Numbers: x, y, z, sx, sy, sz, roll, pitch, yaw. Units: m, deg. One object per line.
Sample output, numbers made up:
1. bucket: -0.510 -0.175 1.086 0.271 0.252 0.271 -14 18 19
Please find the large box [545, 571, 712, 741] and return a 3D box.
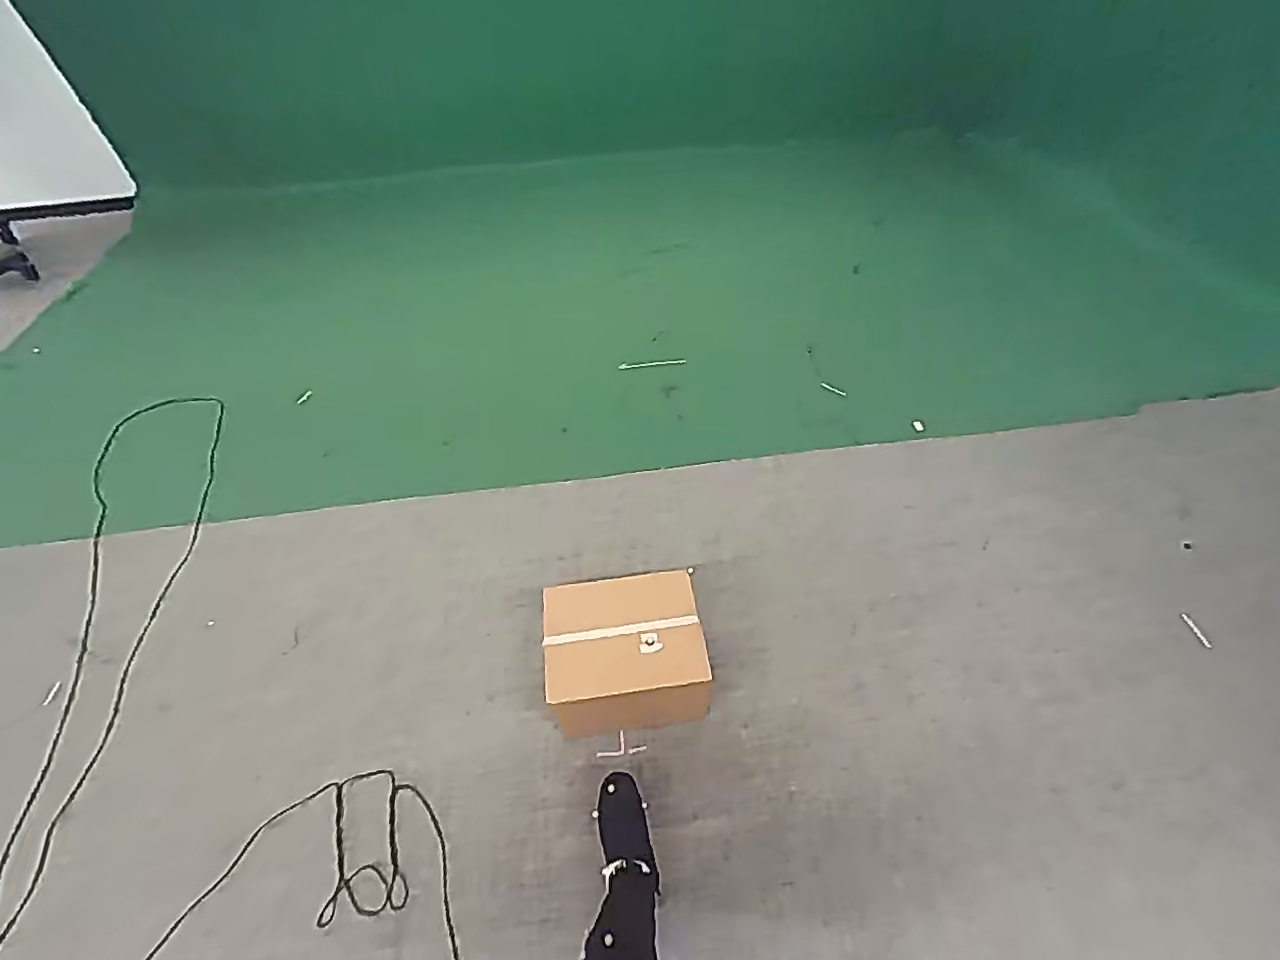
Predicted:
1. large box: -0.037 0.495 1.512 0.408 0.320 0.320 -8 50 -4
